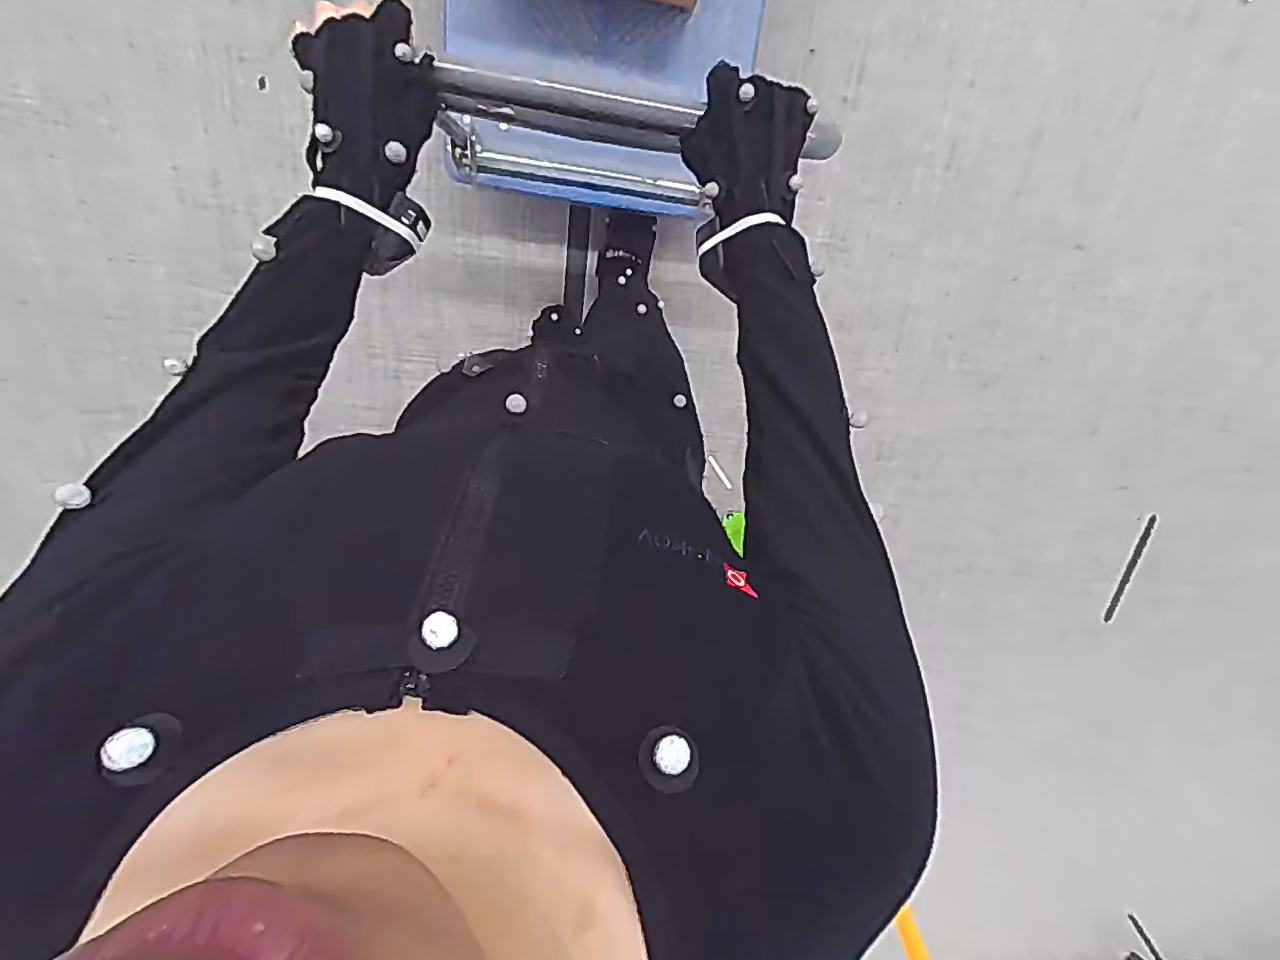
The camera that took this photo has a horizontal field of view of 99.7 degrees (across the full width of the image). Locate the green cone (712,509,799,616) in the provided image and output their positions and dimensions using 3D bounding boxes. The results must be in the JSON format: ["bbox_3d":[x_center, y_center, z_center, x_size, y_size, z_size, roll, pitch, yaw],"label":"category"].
[{"bbox_3d":[0.342,0.247,1.459,0.202,0.368,0.200,8,111,-8],"label":"green cone"}]
